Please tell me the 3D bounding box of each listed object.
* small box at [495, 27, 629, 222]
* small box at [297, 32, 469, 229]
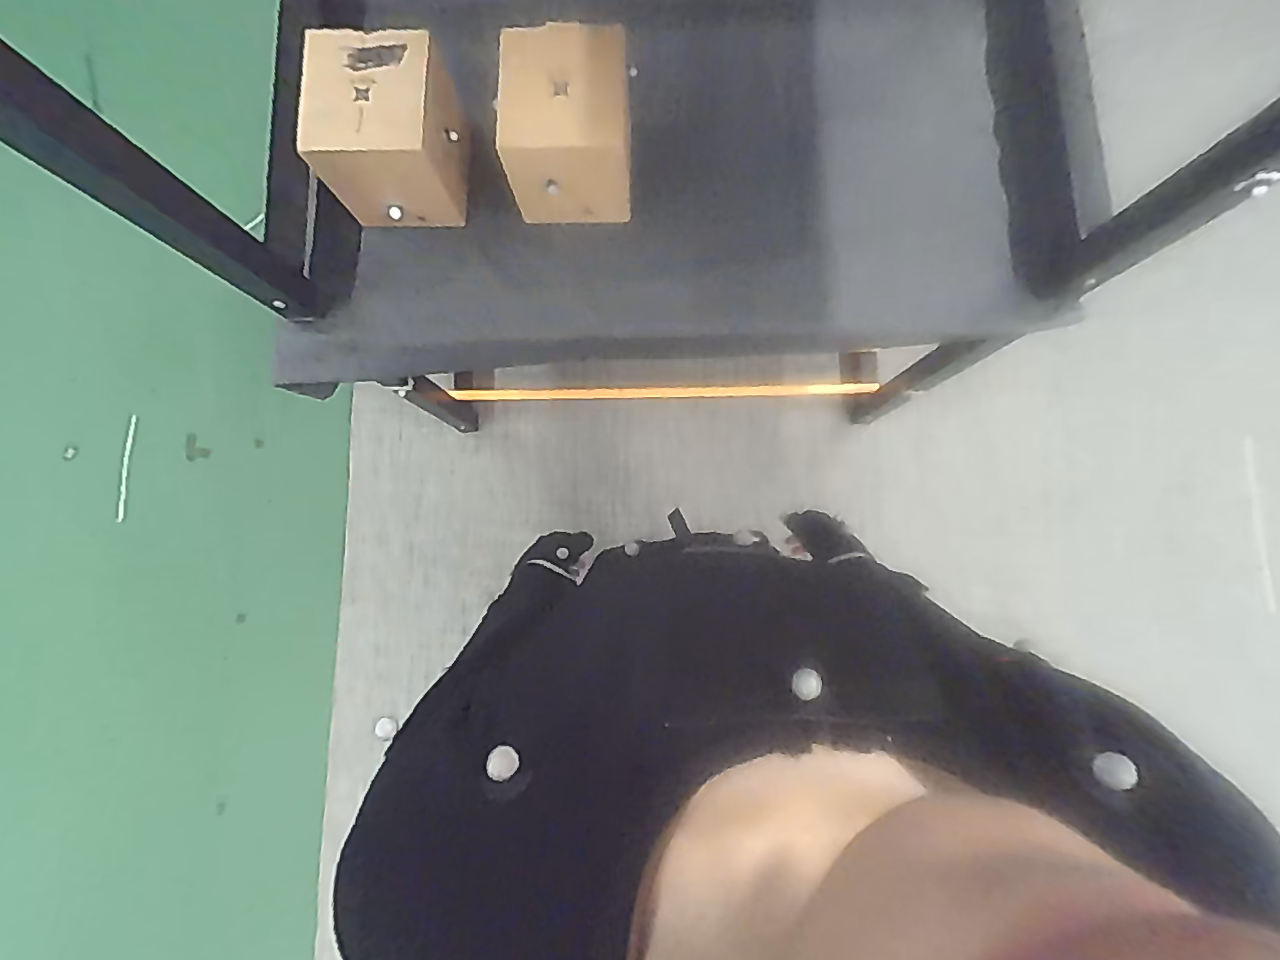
[{"bbox_3d":[-0.102,-0.495,0.777,0.168,0.176,0.179,0,82,1],"label":"small box"},{"bbox_3d":[-0.355,-0.493,0.779,0.168,0.176,0.179,0,83,1],"label":"small box"}]
